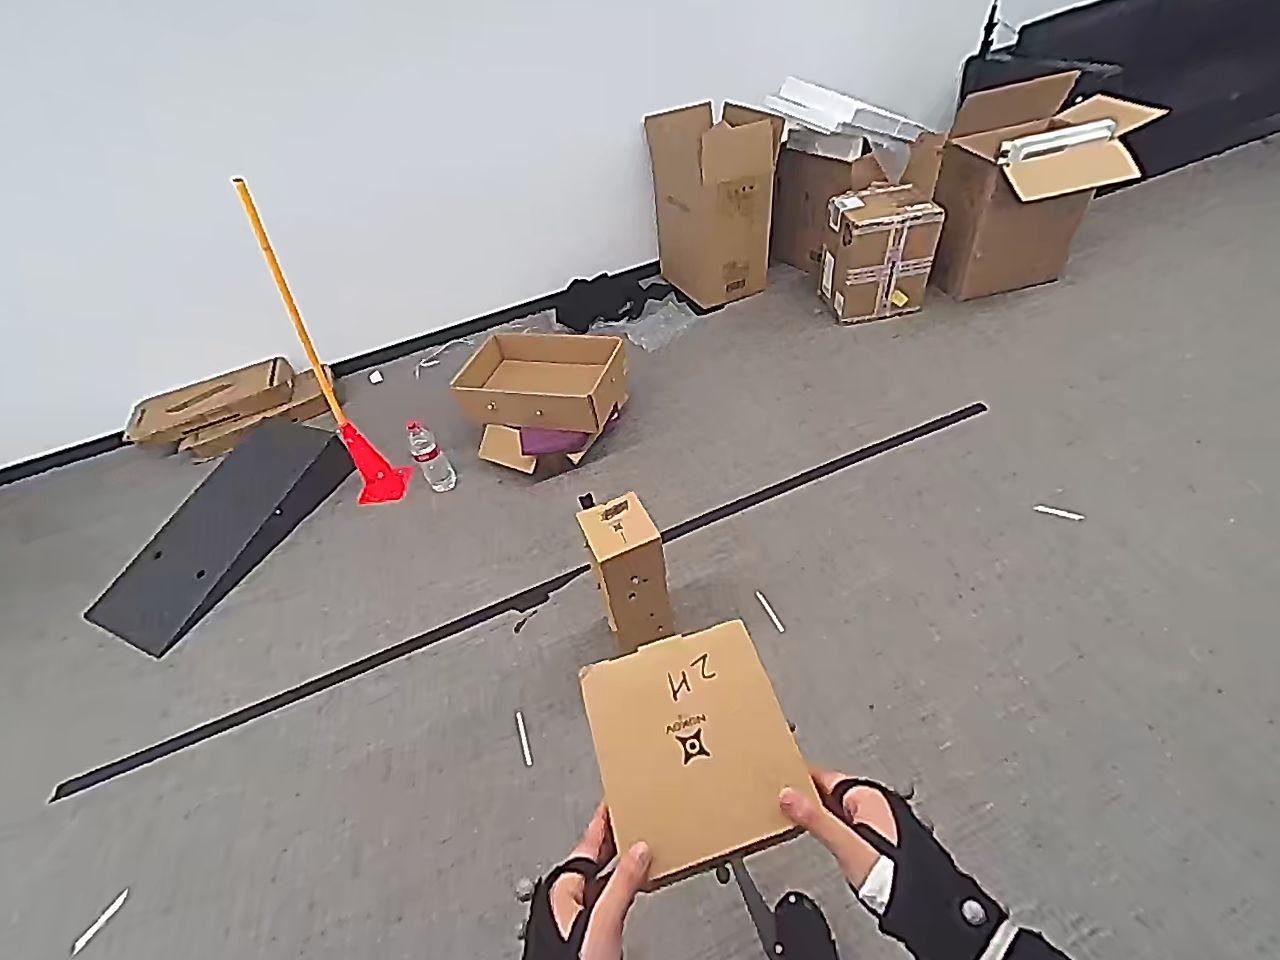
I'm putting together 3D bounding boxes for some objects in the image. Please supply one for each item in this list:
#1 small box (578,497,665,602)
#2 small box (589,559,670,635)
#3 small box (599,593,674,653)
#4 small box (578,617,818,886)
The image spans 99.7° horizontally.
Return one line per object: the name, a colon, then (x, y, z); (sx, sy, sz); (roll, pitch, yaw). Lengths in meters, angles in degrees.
small box: (-0.046, 0.180, 1.400); (0.168, 0.176, 0.179); (-22, 46, -11)
small box: (-0.027, 0.298, 1.514); (0.168, 0.176, 0.179); (-22, 44, -11)
small box: (-0.006, 0.413, 1.629); (0.179, 0.176, 0.168); (-22, 45, -9)
small box: (0.050, 0.267, 0.529); (0.168, 0.176, 0.179); (-17, 51, -6)
